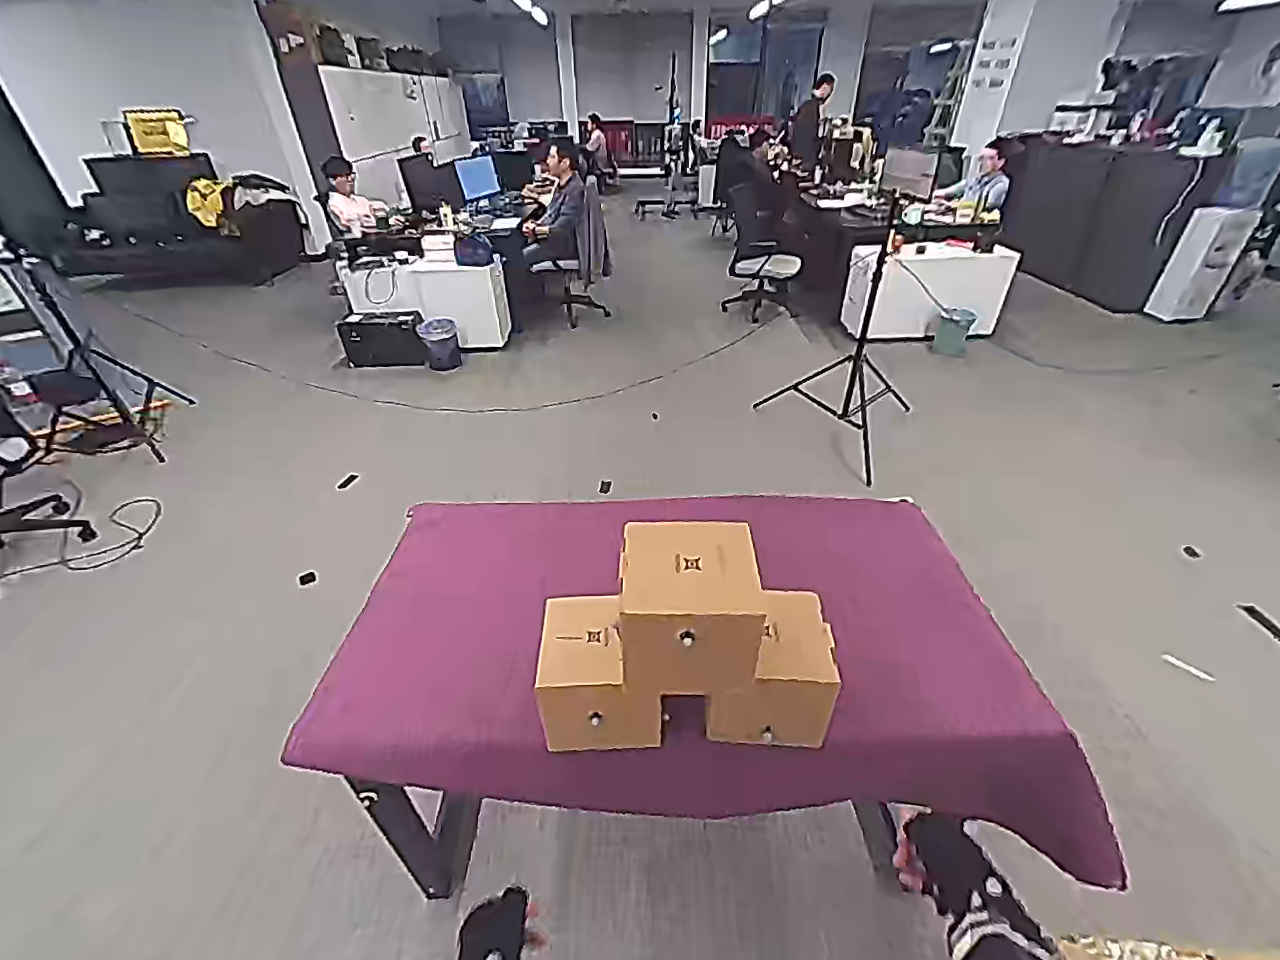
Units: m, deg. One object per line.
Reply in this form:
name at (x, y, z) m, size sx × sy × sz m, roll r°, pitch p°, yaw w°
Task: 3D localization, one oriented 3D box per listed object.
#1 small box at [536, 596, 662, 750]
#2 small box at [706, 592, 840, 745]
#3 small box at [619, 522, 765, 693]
small box at (-0.056, 0.302, 0.851) m, size 0.179 × 0.176 × 0.168 m, roll -3°, pitch 34°, yaw 0°
small box at (0.195, 0.296, 0.853) m, size 0.179 × 0.176 × 0.168 m, roll 1°, pitch 34°, yaw 4°
small box at (0.065, 0.174, 0.745) m, size 0.179 × 0.176 × 0.168 m, roll 0°, pitch 36°, yaw 1°
